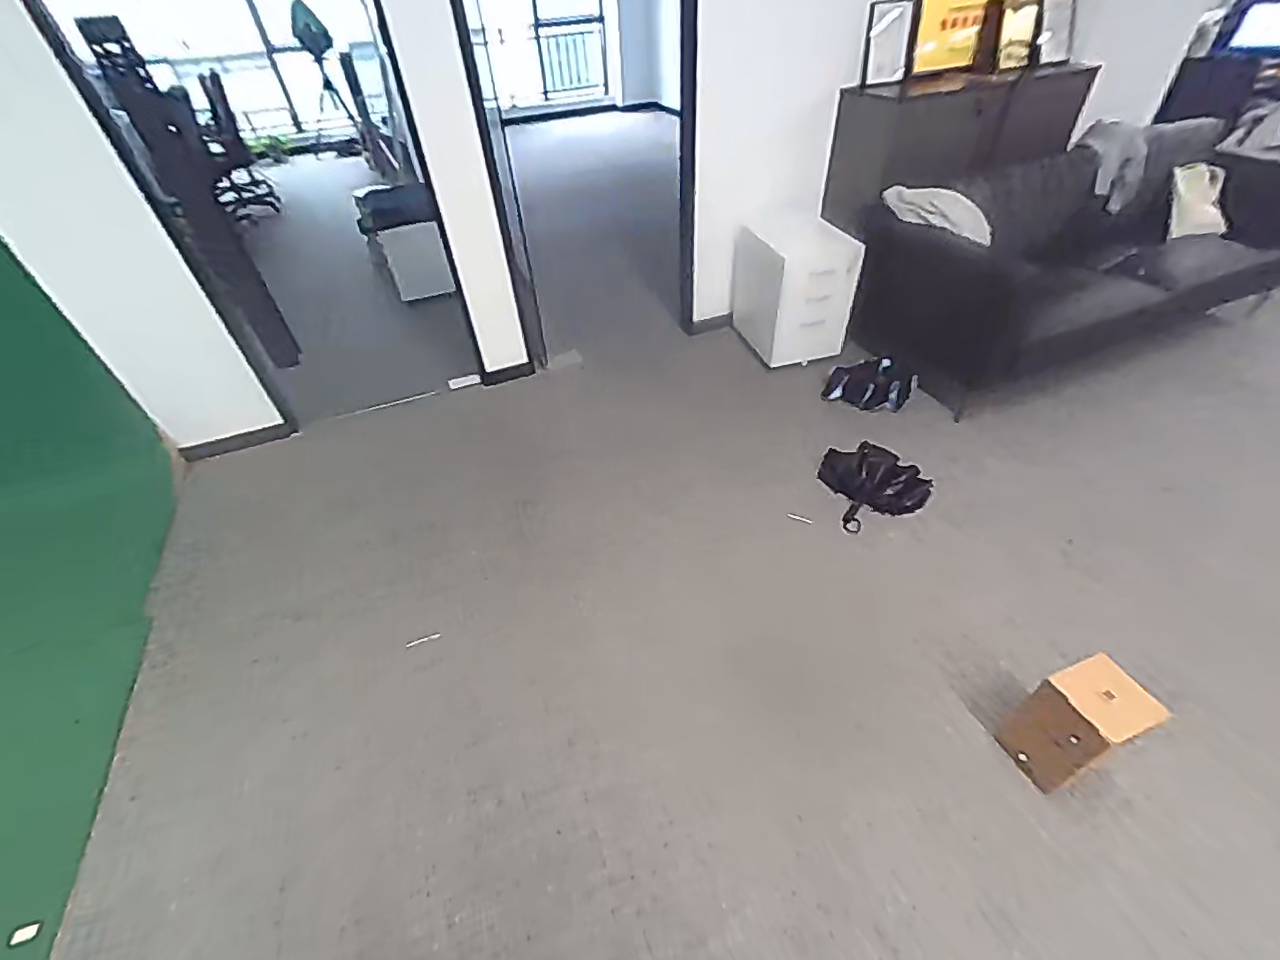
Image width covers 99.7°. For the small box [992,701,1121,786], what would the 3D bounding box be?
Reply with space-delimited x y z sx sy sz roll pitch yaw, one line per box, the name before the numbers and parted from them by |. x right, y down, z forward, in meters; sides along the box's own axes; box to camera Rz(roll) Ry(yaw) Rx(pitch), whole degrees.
small box | 1.059 0.649 1.390 0.179 0.176 0.168 -19 46 -13

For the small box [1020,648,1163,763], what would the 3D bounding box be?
small box | 1.046 0.535 1.276 0.179 0.176 0.168 -16 47 -14
